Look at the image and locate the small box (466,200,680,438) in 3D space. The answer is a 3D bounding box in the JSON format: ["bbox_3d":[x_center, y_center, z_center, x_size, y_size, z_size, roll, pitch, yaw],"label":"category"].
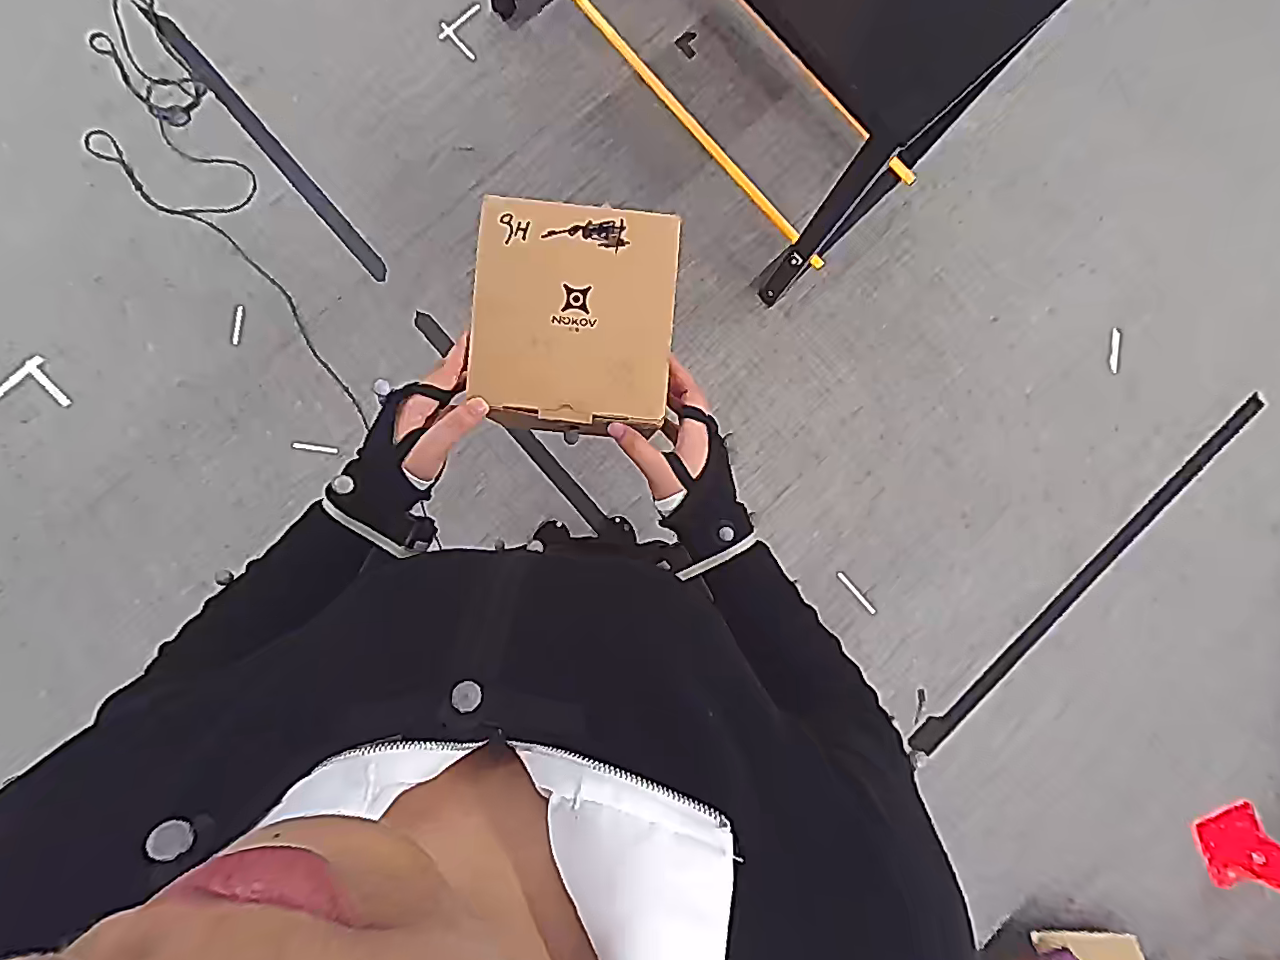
[{"bbox_3d":[-0.057,-0.135,0.521,0.168,0.176,0.179,5,90,-3],"label":"small box"}]
